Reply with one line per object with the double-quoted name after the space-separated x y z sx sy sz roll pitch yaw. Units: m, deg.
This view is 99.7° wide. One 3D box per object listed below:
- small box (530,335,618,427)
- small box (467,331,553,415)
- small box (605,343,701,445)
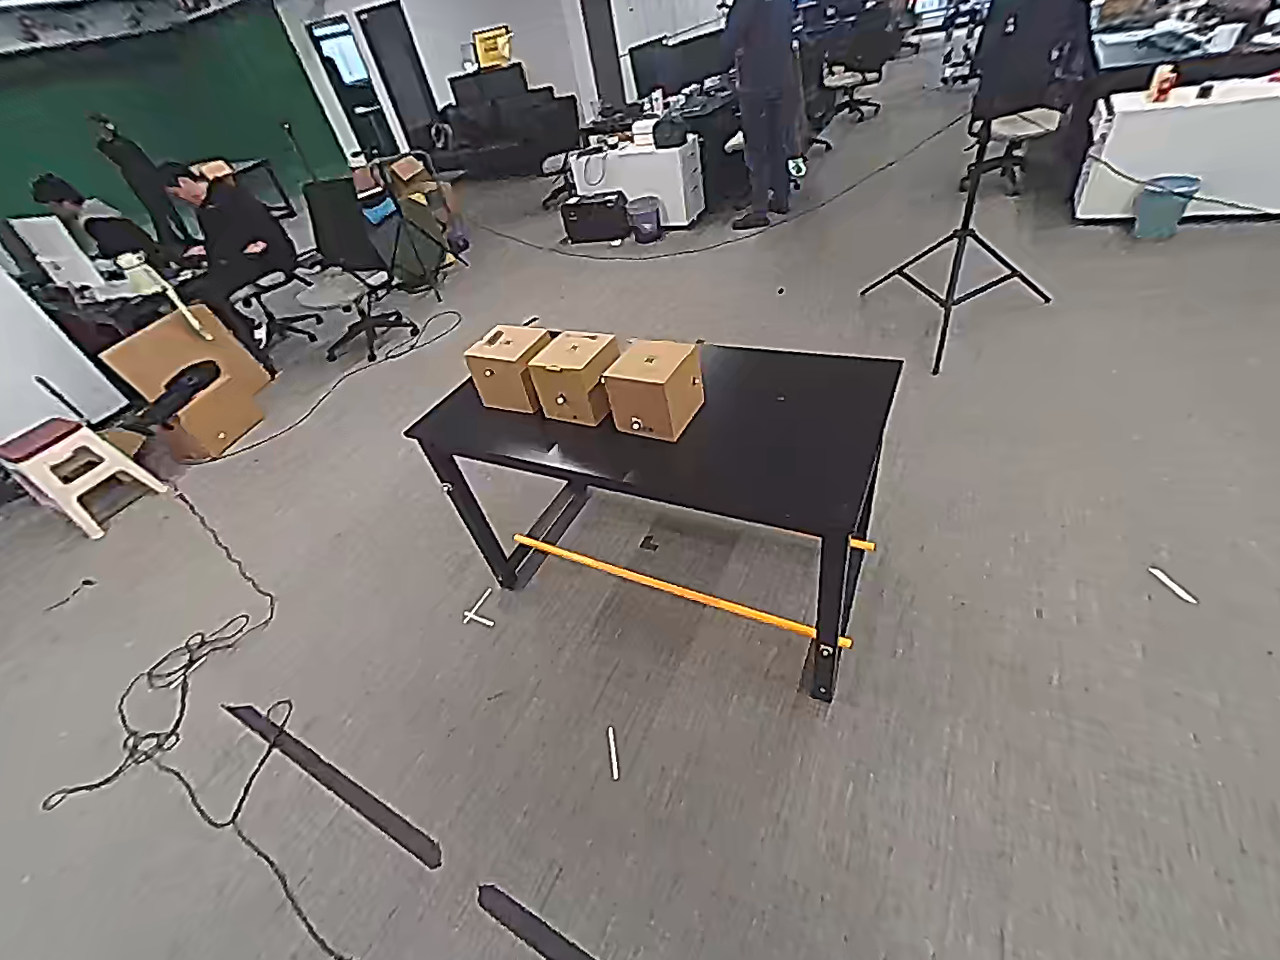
-0.155 -0.259 1.421 0.168 0.176 0.179 13 48 27 "small box"
-0.344 -0.301 1.516 0.179 0.176 0.168 11 47 24 "small box"
0.041 -0.212 1.319 0.168 0.176 0.179 12 48 28 "small box"
